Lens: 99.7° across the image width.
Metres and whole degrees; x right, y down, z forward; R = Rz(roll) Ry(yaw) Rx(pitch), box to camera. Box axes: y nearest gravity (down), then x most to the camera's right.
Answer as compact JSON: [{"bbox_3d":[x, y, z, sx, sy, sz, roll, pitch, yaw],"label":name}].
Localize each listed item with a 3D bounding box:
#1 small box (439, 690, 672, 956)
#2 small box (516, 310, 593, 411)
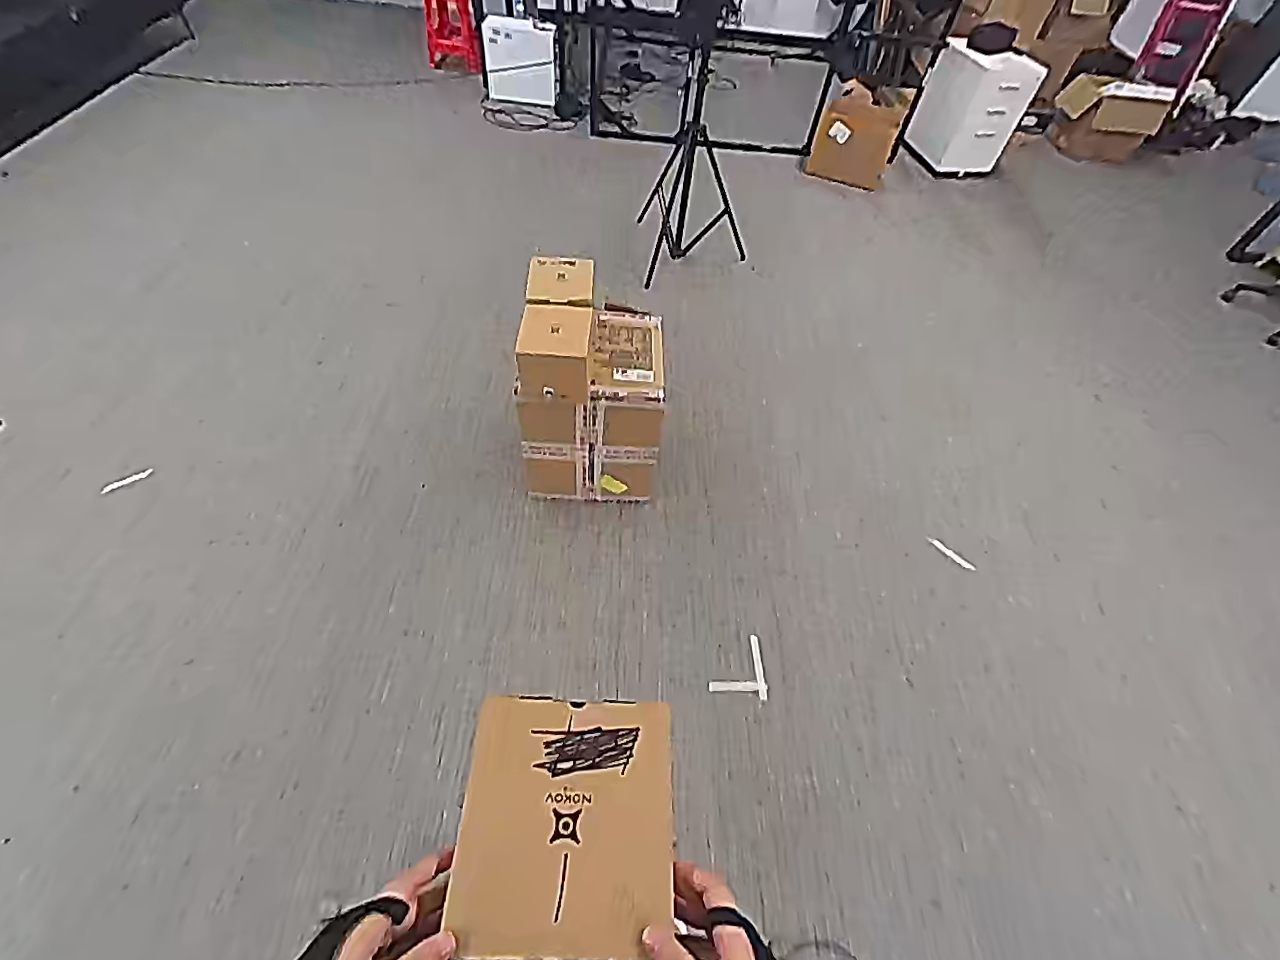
[{"bbox_3d":[-0.064,0.309,0.487,0.168,0.176,0.179,4,50,-3],"label":"small box"},{"bbox_3d":[-0.203,-0.294,1.337,0.168,0.176,0.179,3,56,-2],"label":"small box"}]
